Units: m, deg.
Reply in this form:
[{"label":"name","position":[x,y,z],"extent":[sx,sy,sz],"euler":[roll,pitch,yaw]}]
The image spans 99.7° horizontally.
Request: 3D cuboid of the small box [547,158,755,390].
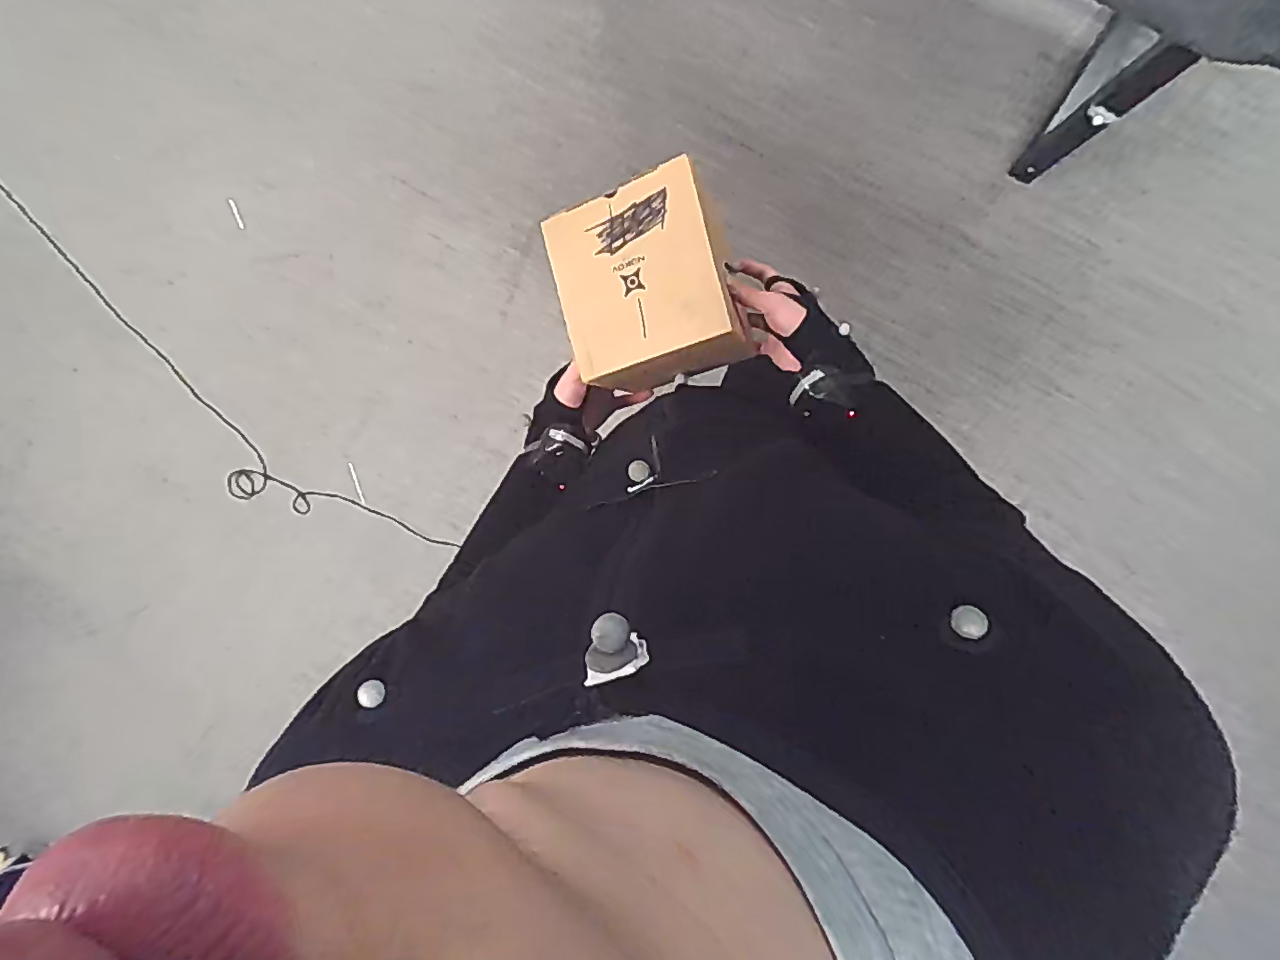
[{"label":"small box","position":[0.022,-0.212,0.614],"extent":[0.168,0.176,0.179],"euler":[-15,90,21]}]
